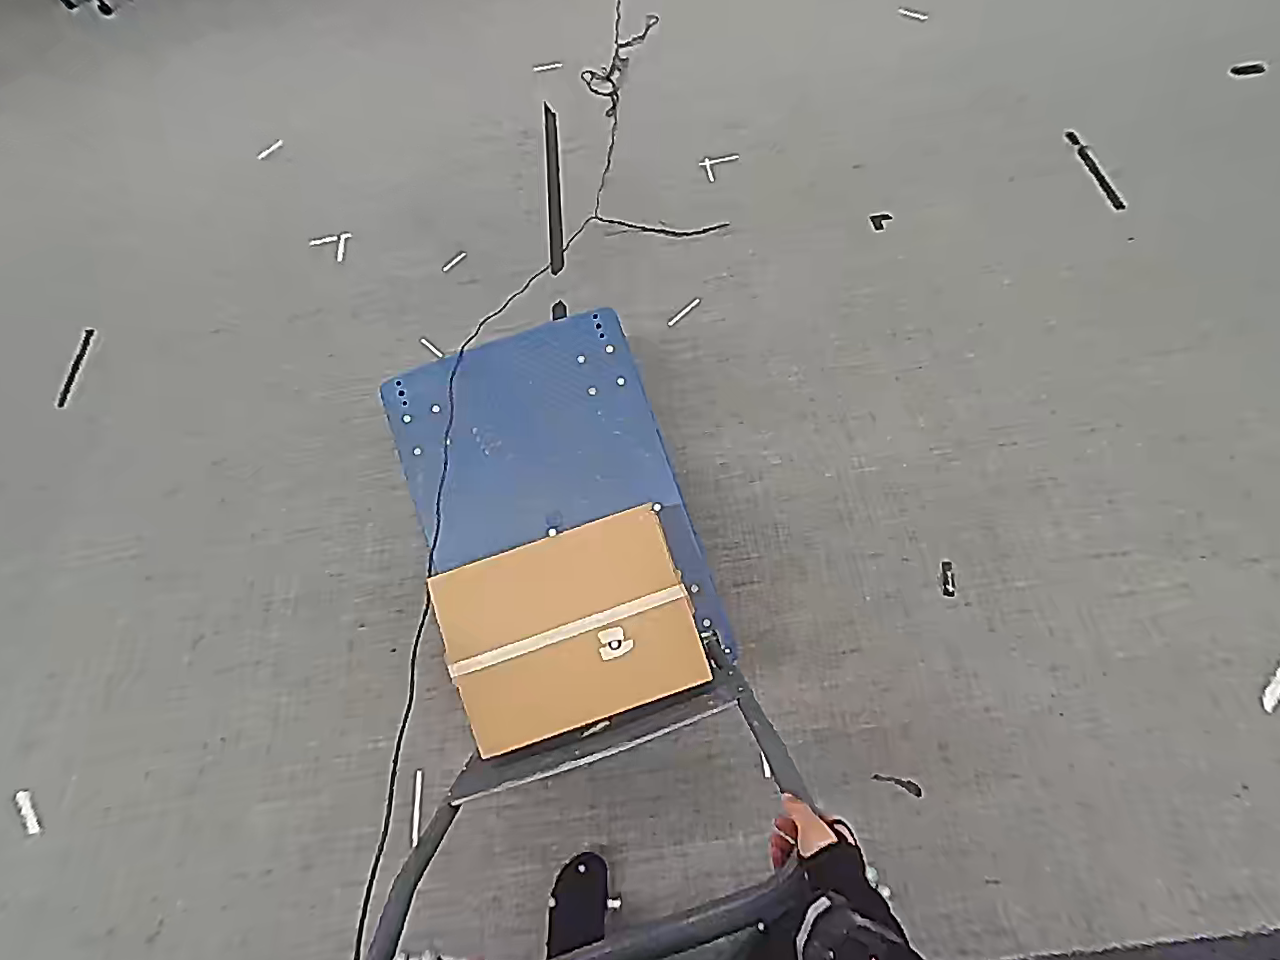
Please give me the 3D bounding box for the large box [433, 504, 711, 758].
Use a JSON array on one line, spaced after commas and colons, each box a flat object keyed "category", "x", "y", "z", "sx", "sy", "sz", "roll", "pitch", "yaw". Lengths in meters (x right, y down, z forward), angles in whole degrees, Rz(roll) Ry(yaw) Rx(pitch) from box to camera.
[{"category": "large box", "x": -0.119, "y": 0.265, "z": 1.059, "sx": 0.408, "sy": 0.320, "sz": 0.320, "roll": -20, "pitch": 86, "yaw": -3}]
